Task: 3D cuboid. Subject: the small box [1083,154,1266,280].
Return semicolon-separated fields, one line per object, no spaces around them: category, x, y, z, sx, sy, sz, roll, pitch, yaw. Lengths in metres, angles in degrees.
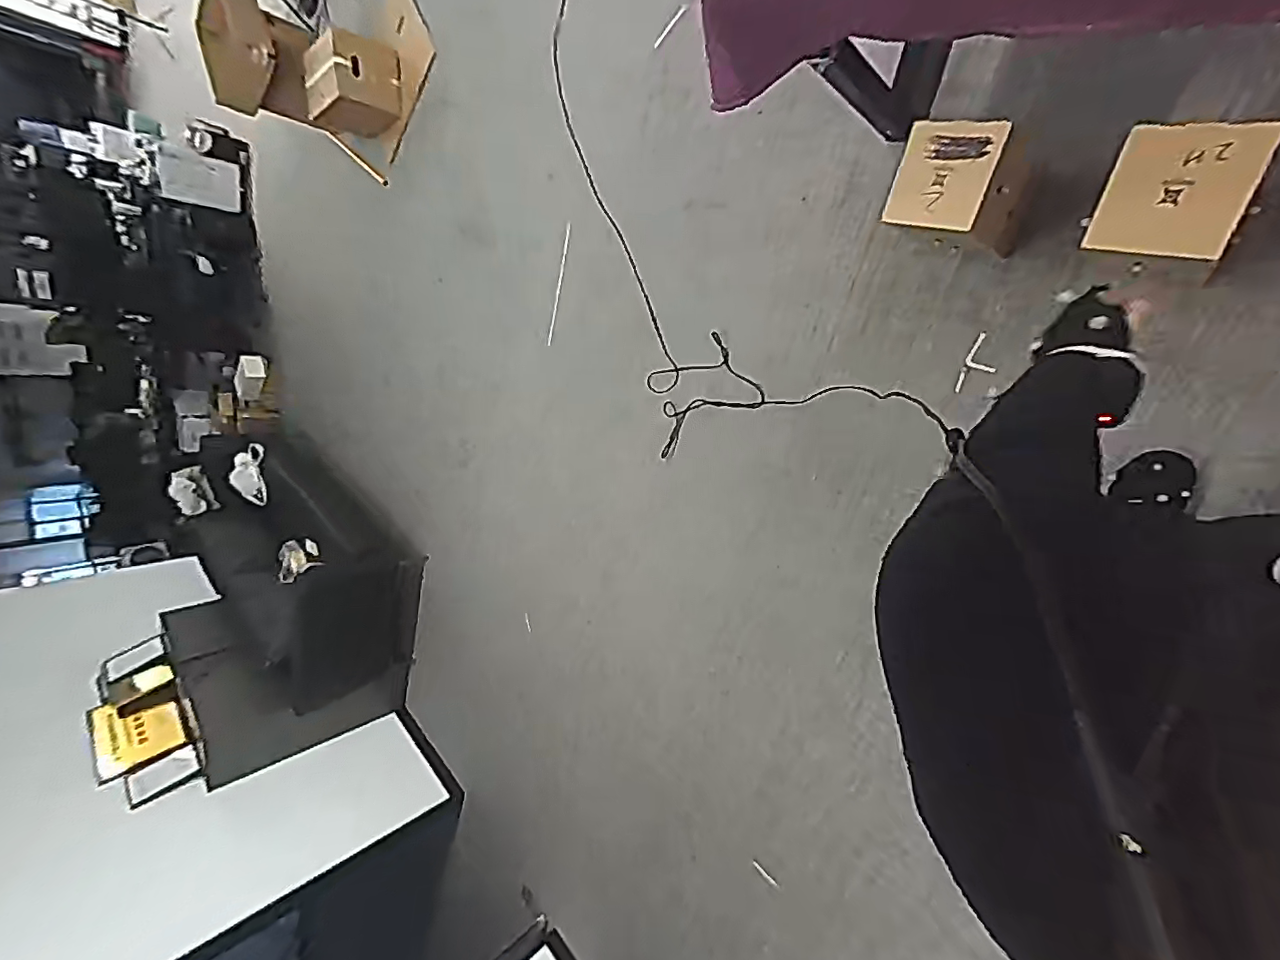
small box;0.949;-0.468;0.976;0.179;0.176;0.168;29;116;36
